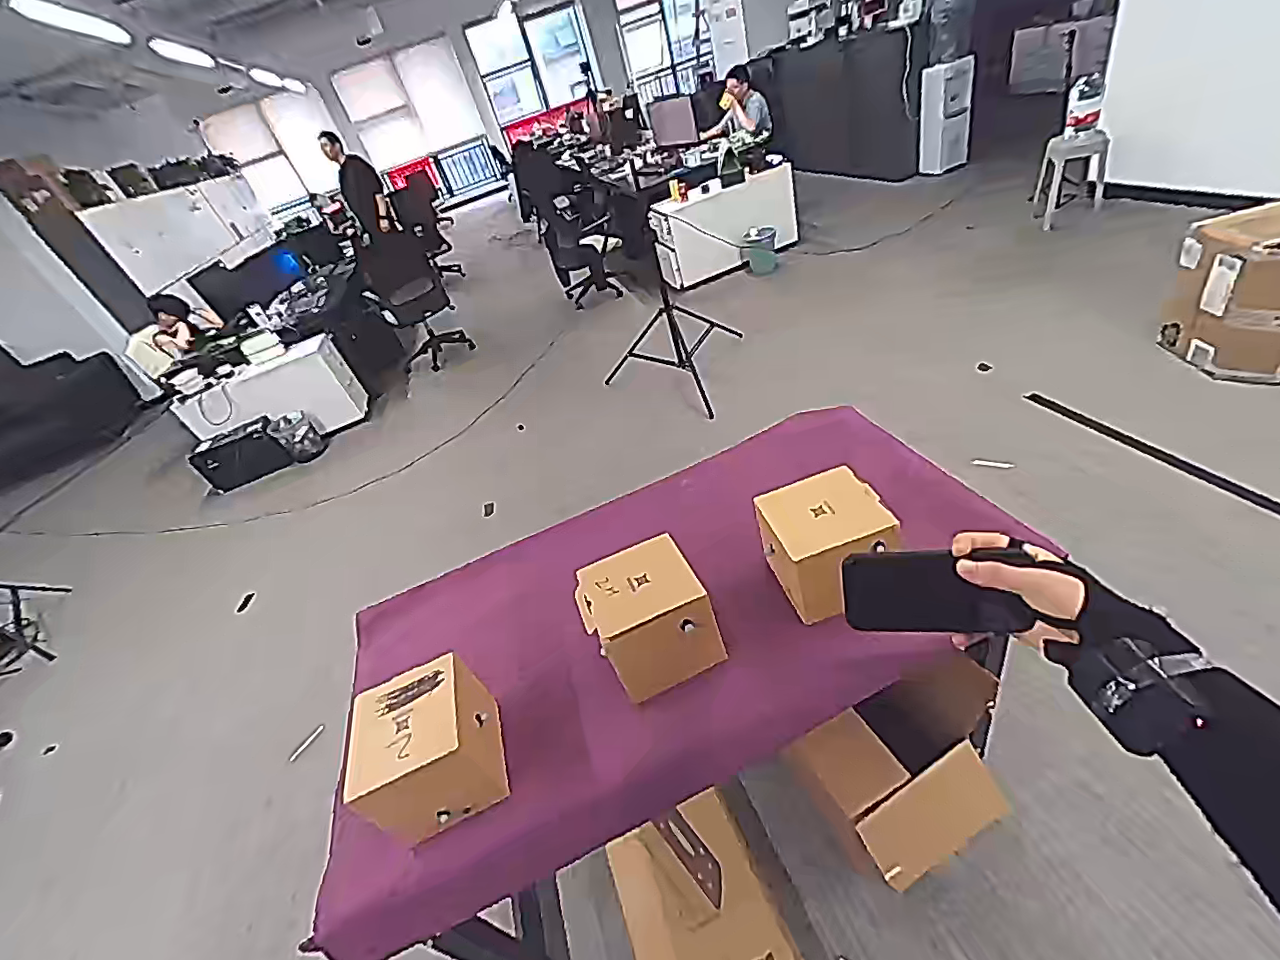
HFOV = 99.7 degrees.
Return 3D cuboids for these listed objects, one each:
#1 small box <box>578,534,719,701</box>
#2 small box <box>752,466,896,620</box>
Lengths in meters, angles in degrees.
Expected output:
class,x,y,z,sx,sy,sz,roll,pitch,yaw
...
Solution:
class,x,y,z,sx,sy,sz,roll,pitch,yaw
small box,0.019,0.229,0.906,0.179,0.176,0.168,-25,34,-6
small box,0.314,0.110,0.923,0.179,0.176,0.168,-20,37,-1
